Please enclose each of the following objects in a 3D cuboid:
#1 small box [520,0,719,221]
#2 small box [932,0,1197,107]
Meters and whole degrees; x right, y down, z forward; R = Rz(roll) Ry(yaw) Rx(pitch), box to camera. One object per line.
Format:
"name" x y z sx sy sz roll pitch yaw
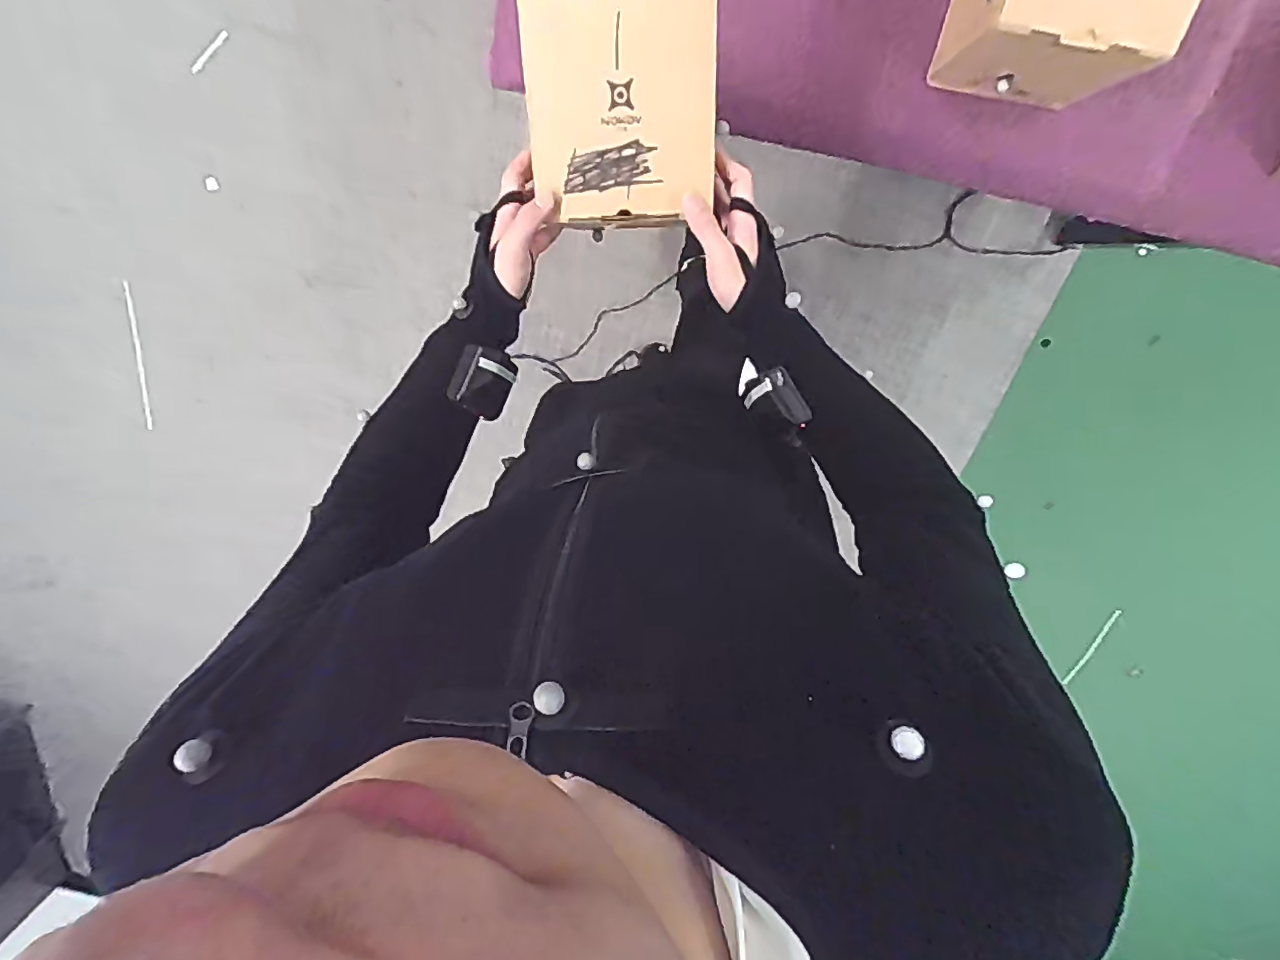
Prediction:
"small box" -0.008 -0.357 0.537 0.168 0.176 0.179 1 112 6
"small box" 0.427 -0.507 0.539 0.168 0.176 0.179 11 113 1
